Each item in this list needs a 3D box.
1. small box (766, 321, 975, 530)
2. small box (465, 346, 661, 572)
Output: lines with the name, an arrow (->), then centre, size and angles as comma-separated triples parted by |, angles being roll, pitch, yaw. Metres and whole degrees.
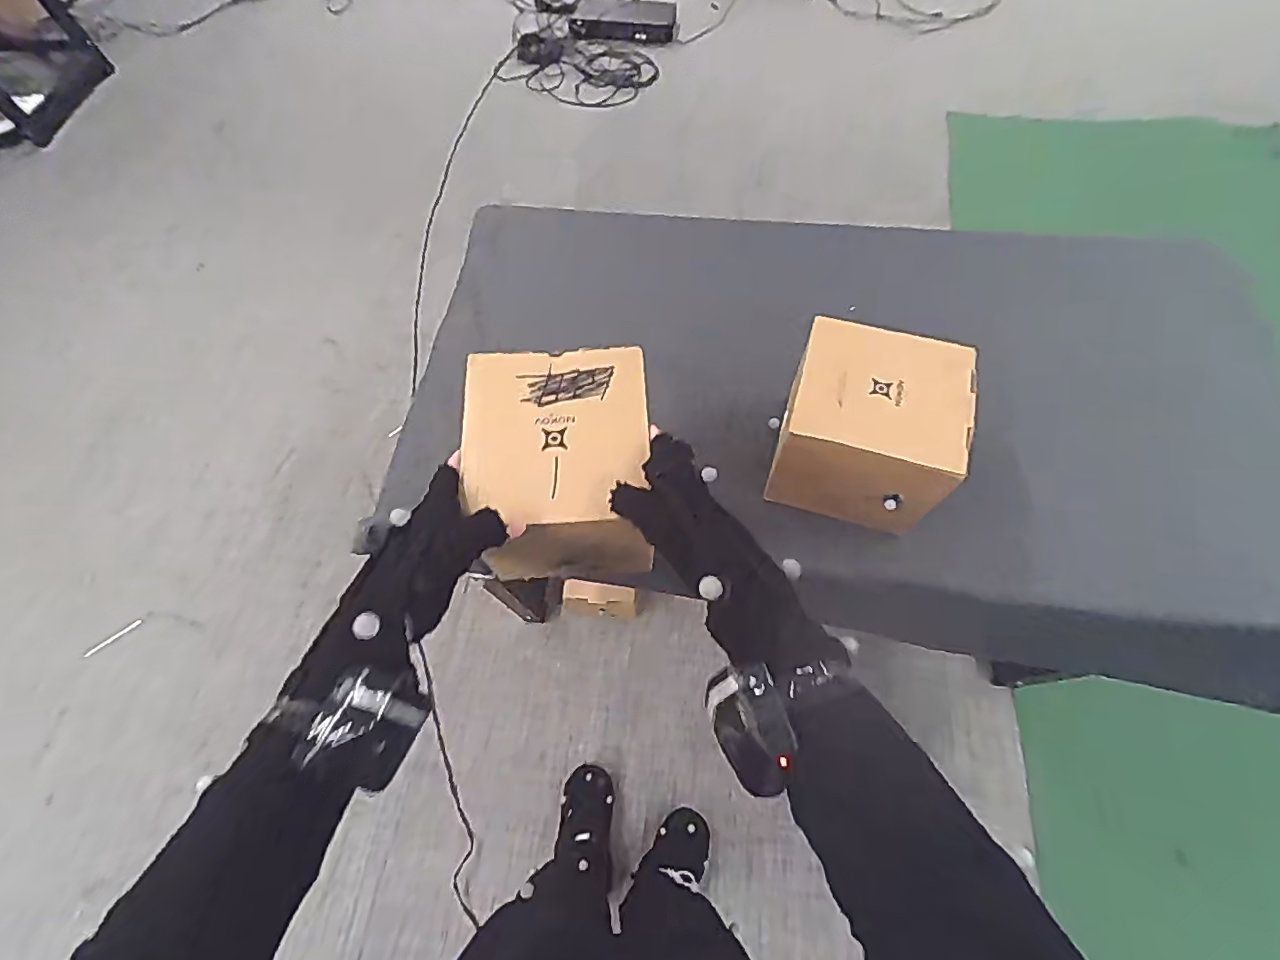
small box -> 0.264, -0.056, 0.647 | 0.179, 0.176, 0.168 | 15, 65, 11
small box -> -0.069, -0.015, 0.556 | 0.168, 0.176, 0.179 | -3, 66, -2
